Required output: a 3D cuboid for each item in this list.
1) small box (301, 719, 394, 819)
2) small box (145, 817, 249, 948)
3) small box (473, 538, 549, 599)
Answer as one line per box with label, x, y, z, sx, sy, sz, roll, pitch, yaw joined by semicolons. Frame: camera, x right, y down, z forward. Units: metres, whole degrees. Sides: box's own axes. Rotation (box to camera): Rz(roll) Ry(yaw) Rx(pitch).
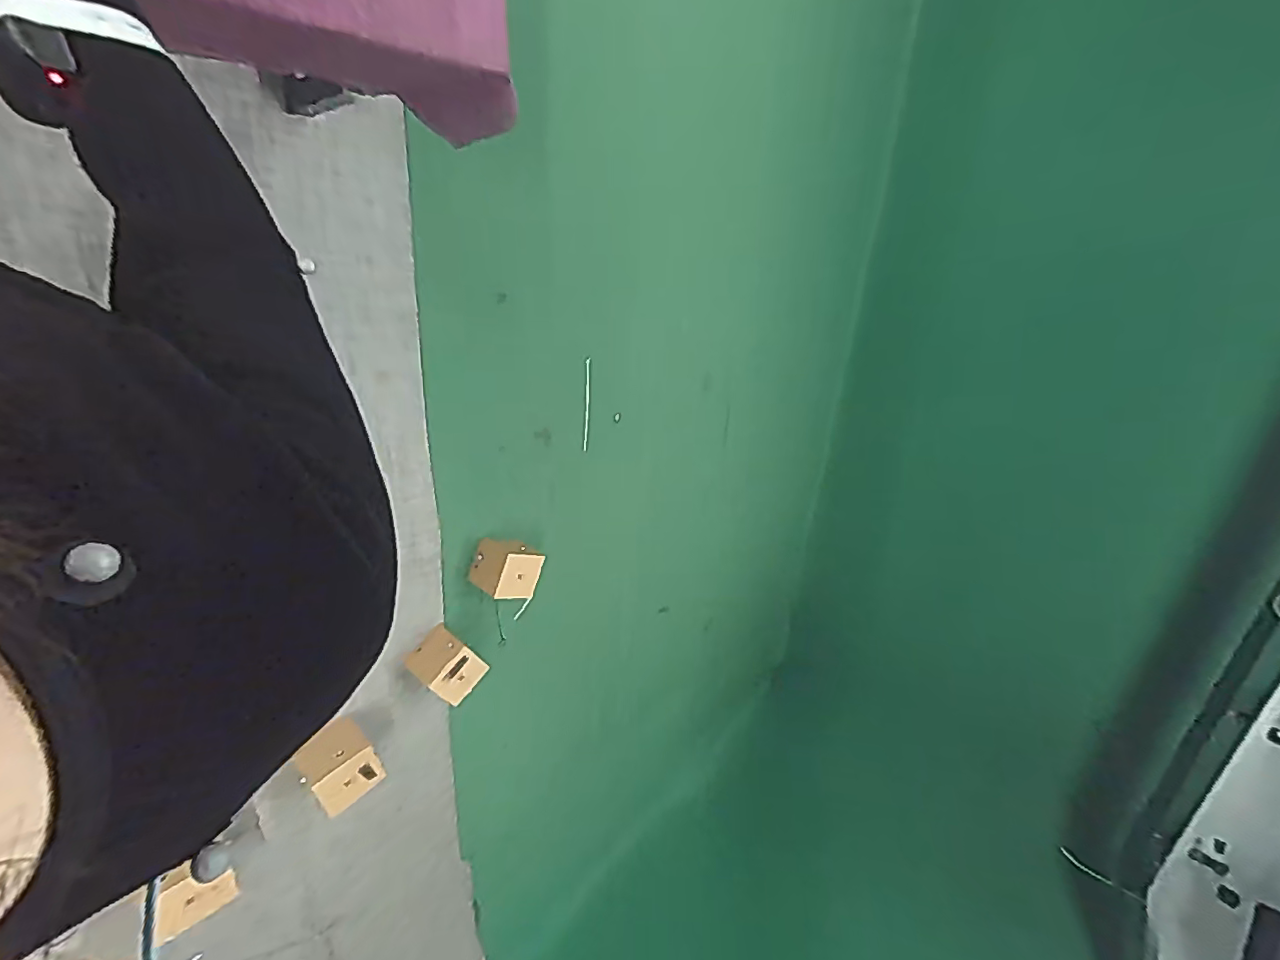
small box;-0.903;0.884;1.670;0.179;0.176;0.168;-32;129;-37
small box;-1.170;1.048;1.424;0.179;0.176;0.168;-18;121;-45
small box;-0.463;0.317;1.940;0.179;0.176;0.168;16;94;-52
